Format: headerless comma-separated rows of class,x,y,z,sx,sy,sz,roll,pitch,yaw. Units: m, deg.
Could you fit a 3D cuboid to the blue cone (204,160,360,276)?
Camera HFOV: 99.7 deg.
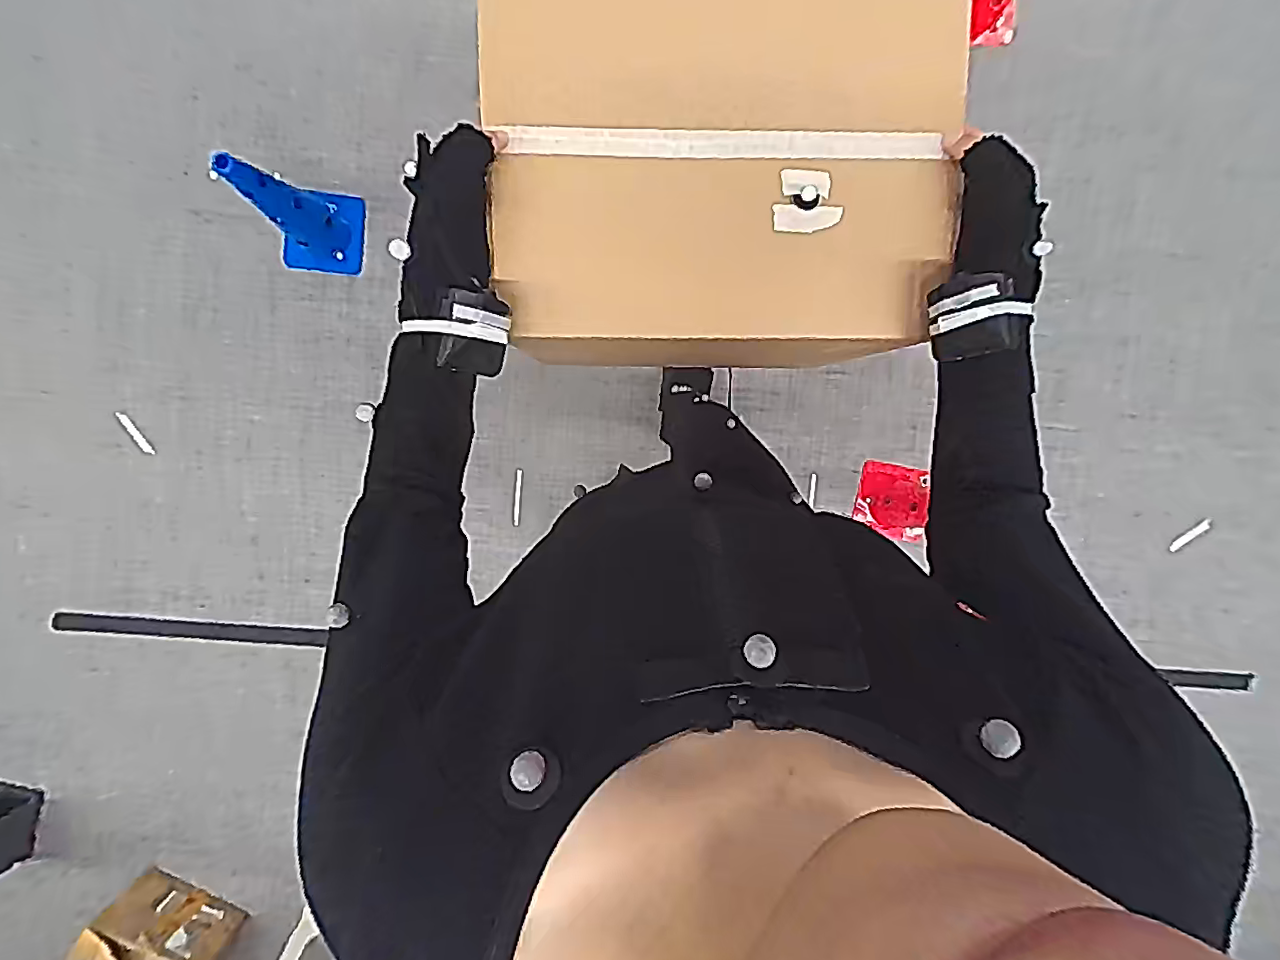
blue cone,-0.821,-0.617,1.236,0.192,0.380,0.193,7,94,-1

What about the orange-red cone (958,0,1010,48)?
orange-red cone,0.865,-1.214,1.221,0.198,0.360,0.199,2,93,-3

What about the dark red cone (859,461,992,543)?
dark red cone,0.699,0.074,1.289,0.201,0.394,0.202,10,94,-1

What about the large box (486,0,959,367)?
large box,0.065,-0.302,0.609,0.408,0.320,0.320,-1,97,-3
